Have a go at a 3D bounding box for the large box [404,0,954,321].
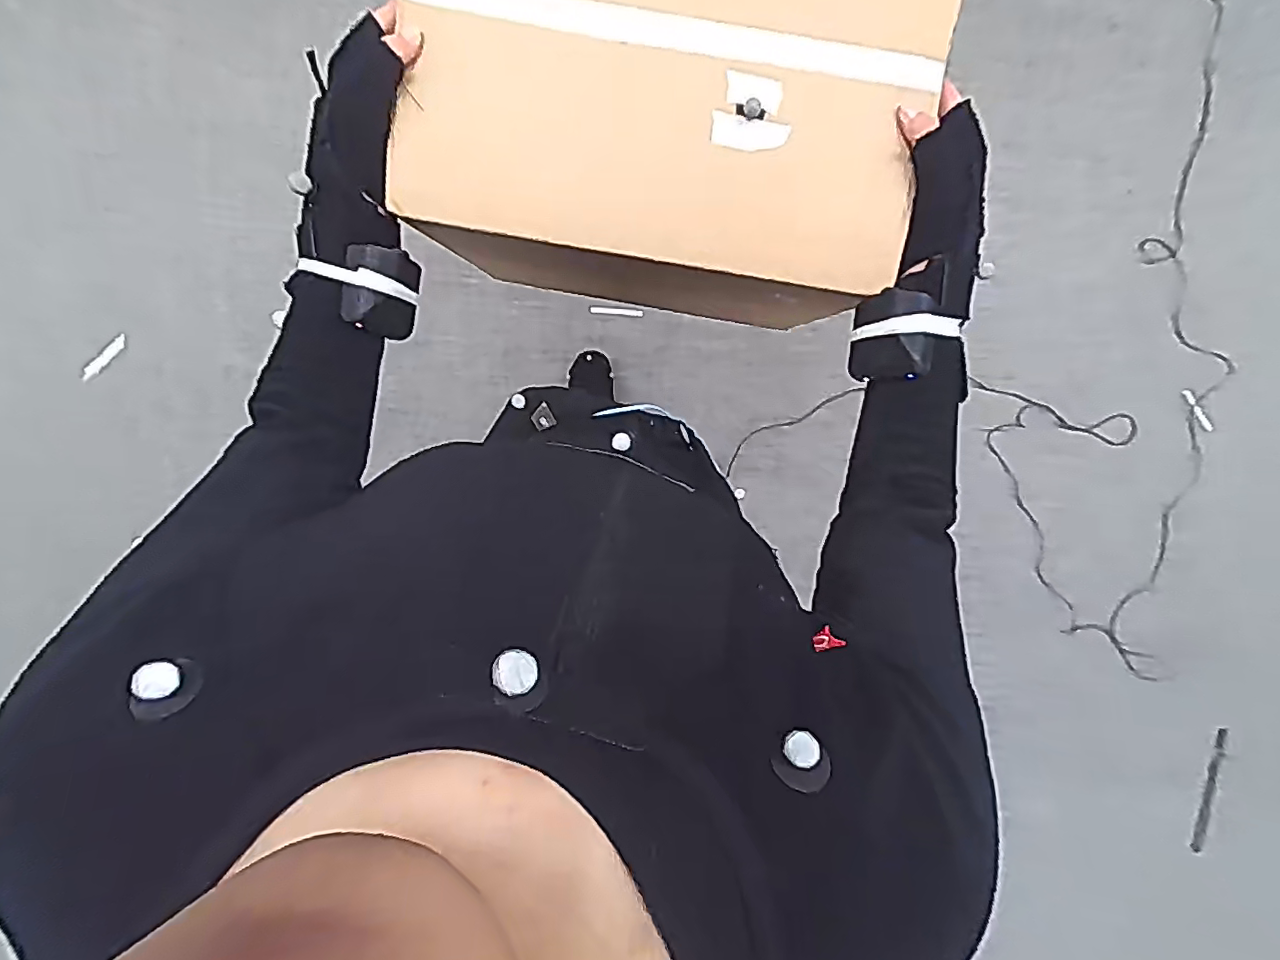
[{"bbox_3d":[0.026,-0.360,0.553,0.408,0.320,0.320,9,102,-2],"label":"large box"}]
